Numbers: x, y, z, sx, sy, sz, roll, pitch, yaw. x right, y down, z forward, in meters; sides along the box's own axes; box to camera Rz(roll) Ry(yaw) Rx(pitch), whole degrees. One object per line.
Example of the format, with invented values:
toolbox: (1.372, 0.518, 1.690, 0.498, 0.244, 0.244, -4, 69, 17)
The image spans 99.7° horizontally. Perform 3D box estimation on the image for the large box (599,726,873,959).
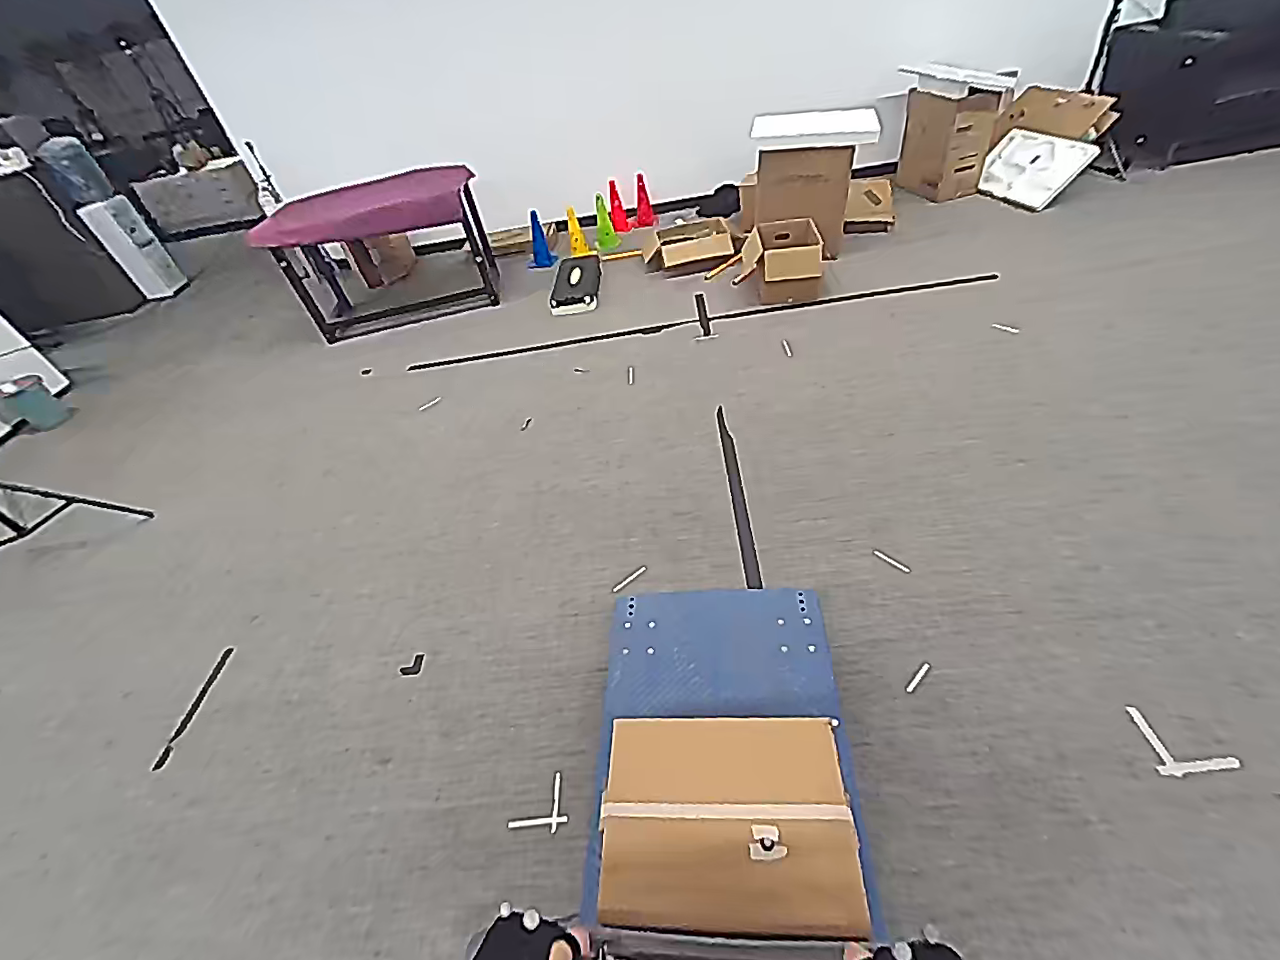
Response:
large box: (0.157, 0.671, 0.987, 0.408, 0.320, 0.320, -4, 44, 7)
